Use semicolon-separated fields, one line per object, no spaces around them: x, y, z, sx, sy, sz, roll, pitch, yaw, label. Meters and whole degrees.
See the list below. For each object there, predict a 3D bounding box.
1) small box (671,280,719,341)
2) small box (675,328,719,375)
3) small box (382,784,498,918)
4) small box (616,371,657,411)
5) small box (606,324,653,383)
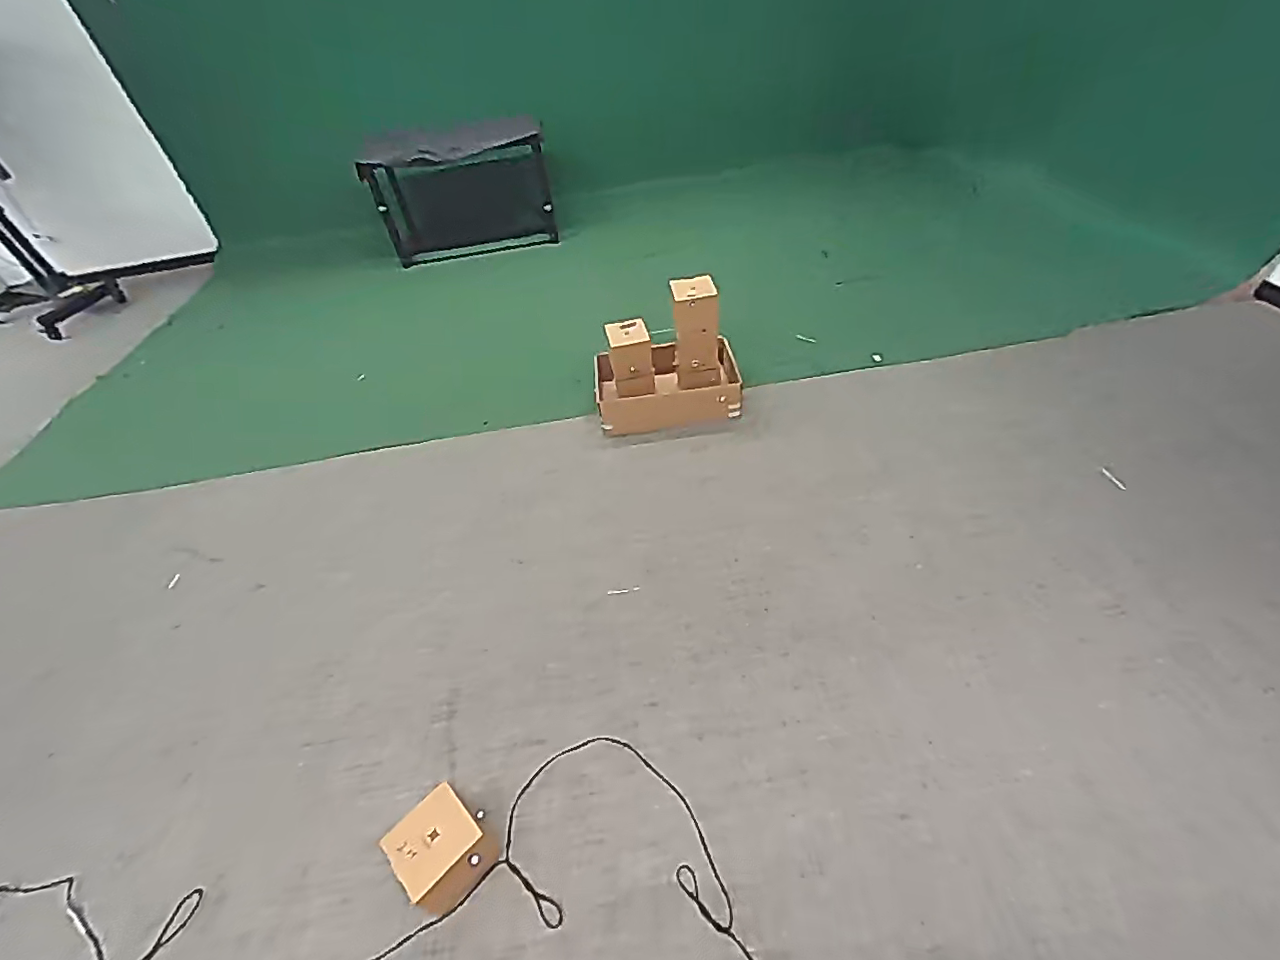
0.221;-0.684;2.183;0.168;0.176;0.179;-10;44;1;small box
0.240;-0.569;2.299;0.168;0.176;0.179;-8;46;3;small box
-0.447;0.853;1.243;0.168;0.176;0.179;30;56;35;small box
-0.022;-0.435;2.439;0.168;0.176;0.179;-10;45;-3;small box
-0.044;-0.542;2.315;0.168;0.176;0.179;-12;46;-4;small box
